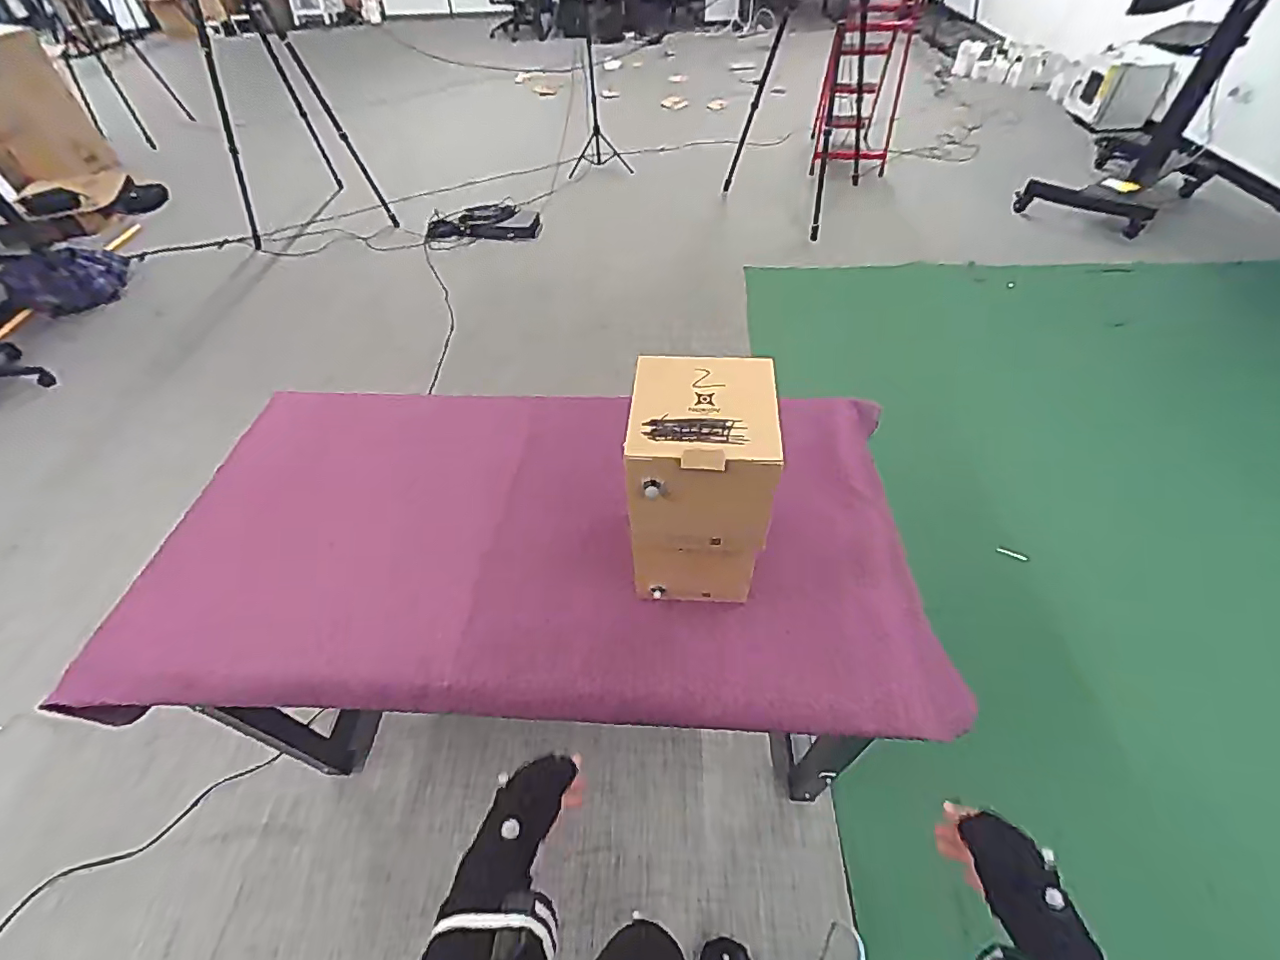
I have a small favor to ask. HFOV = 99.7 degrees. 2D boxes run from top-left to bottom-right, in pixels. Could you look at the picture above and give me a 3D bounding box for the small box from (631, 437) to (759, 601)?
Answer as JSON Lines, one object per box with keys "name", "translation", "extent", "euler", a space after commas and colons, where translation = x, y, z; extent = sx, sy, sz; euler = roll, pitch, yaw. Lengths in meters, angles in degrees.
{"name": "small box", "translation": [0.082, 0.060, 0.797], "extent": [0.168, 0.176, 0.179], "euler": [5, 51, 5]}
